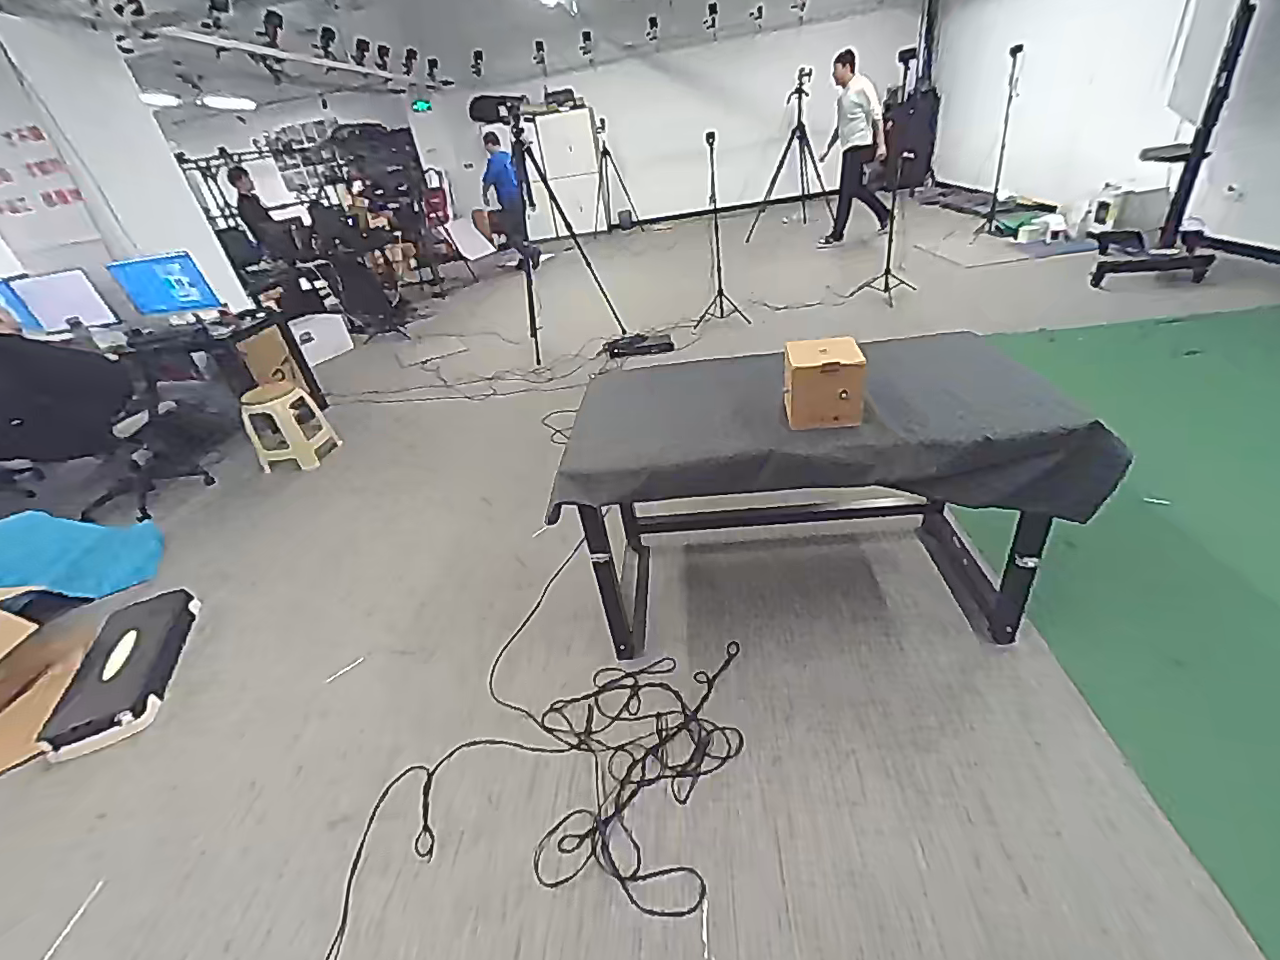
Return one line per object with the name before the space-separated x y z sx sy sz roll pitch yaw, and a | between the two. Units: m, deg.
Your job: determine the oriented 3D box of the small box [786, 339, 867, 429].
small box | 0.454 -0.233 1.334 0.168 0.176 0.179 -2 32 10
